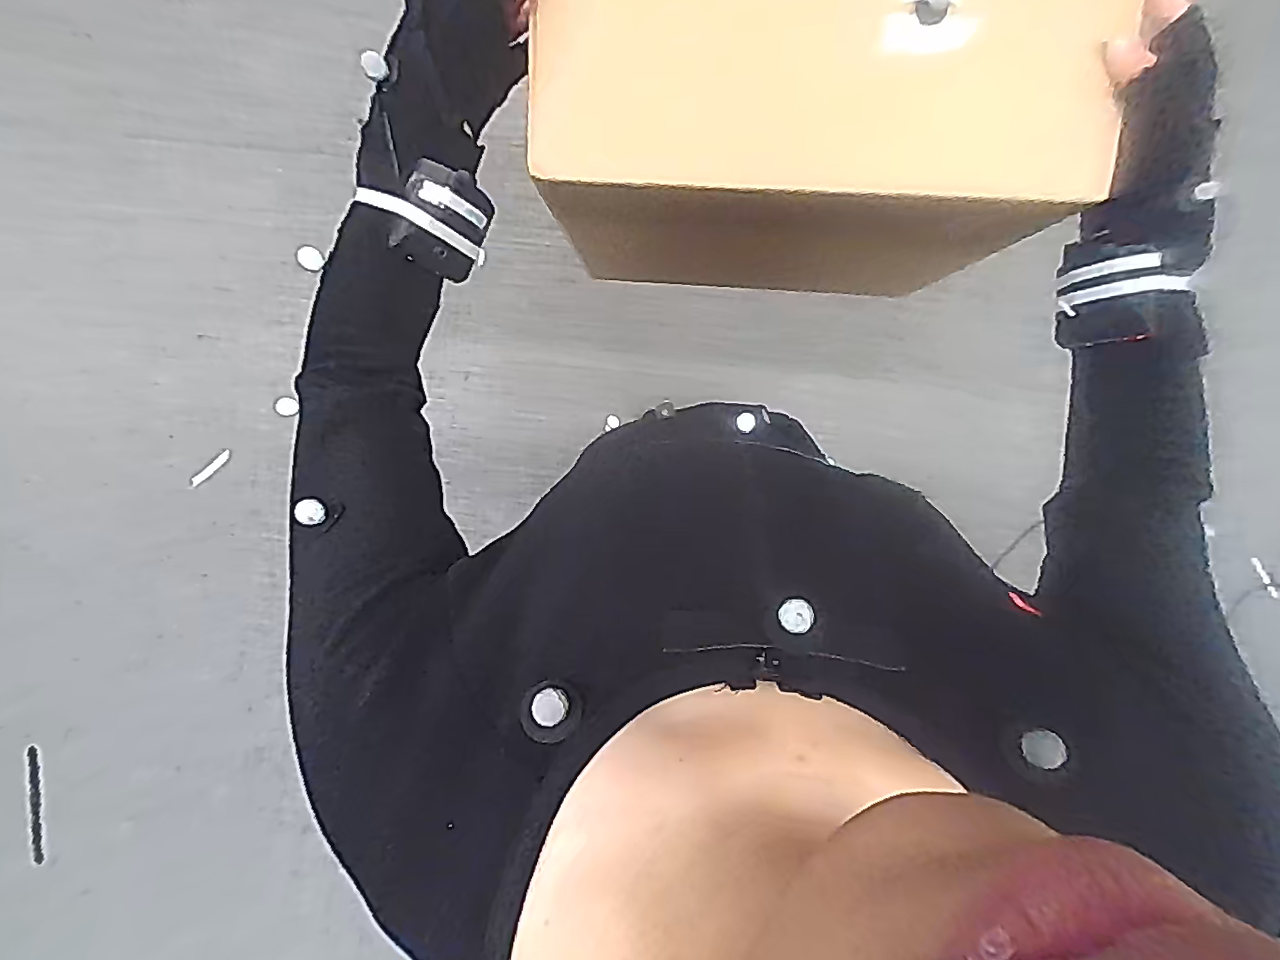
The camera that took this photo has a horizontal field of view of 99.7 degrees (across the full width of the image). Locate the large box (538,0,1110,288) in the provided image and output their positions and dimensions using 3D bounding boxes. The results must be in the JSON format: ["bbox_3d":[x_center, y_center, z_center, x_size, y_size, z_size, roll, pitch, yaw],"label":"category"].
[{"bbox_3d":[0.131,-0.384,0.524,0.408,0.320,0.320,3,98,2],"label":"large box"}]
